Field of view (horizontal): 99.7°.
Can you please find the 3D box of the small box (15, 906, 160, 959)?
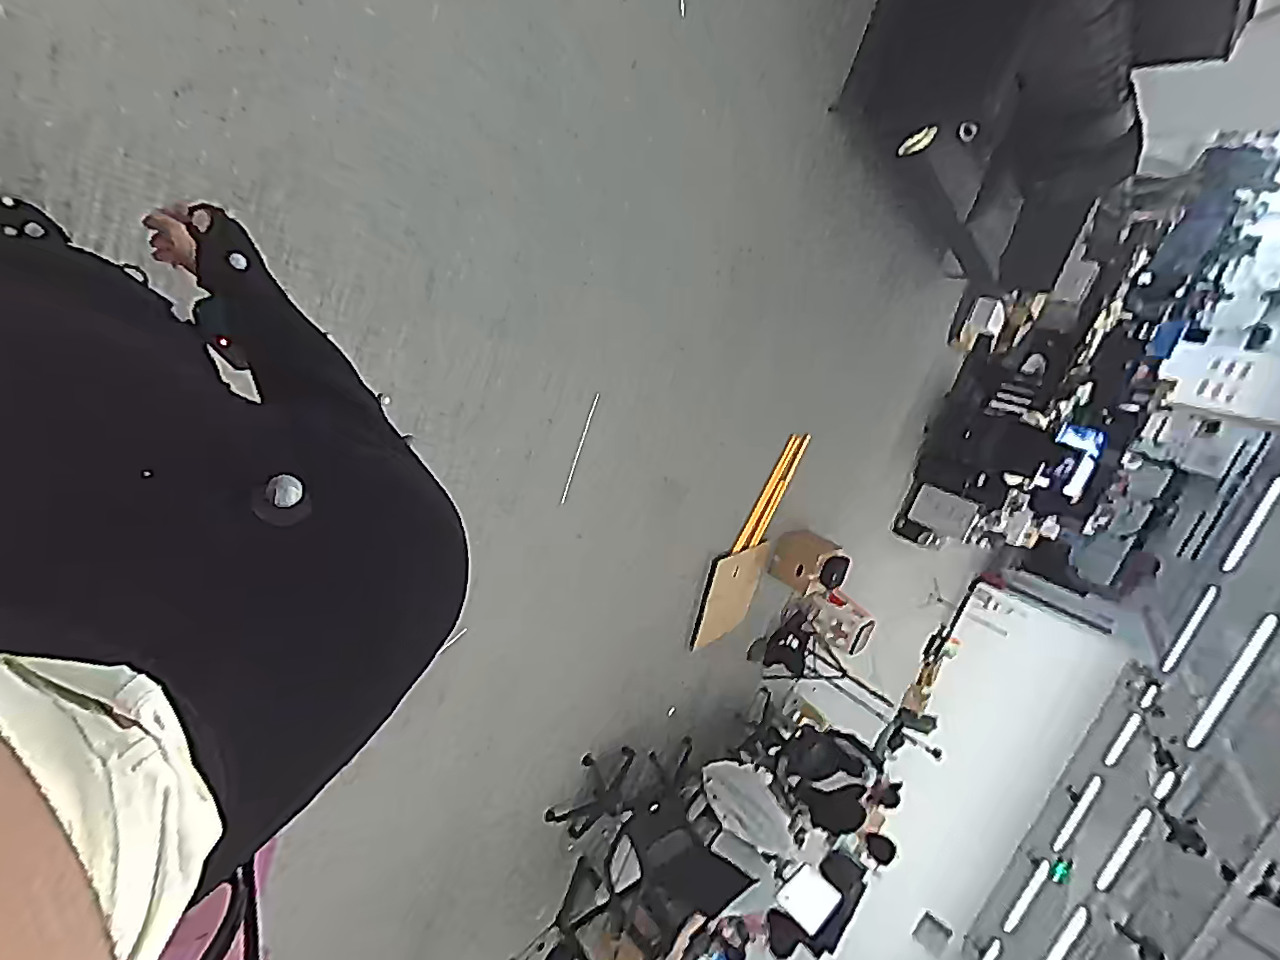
[{"bbox_3d":[-0.873,0.836,0.847,0.168,0.176,0.179,7,107,-50],"label":"small box"}]
